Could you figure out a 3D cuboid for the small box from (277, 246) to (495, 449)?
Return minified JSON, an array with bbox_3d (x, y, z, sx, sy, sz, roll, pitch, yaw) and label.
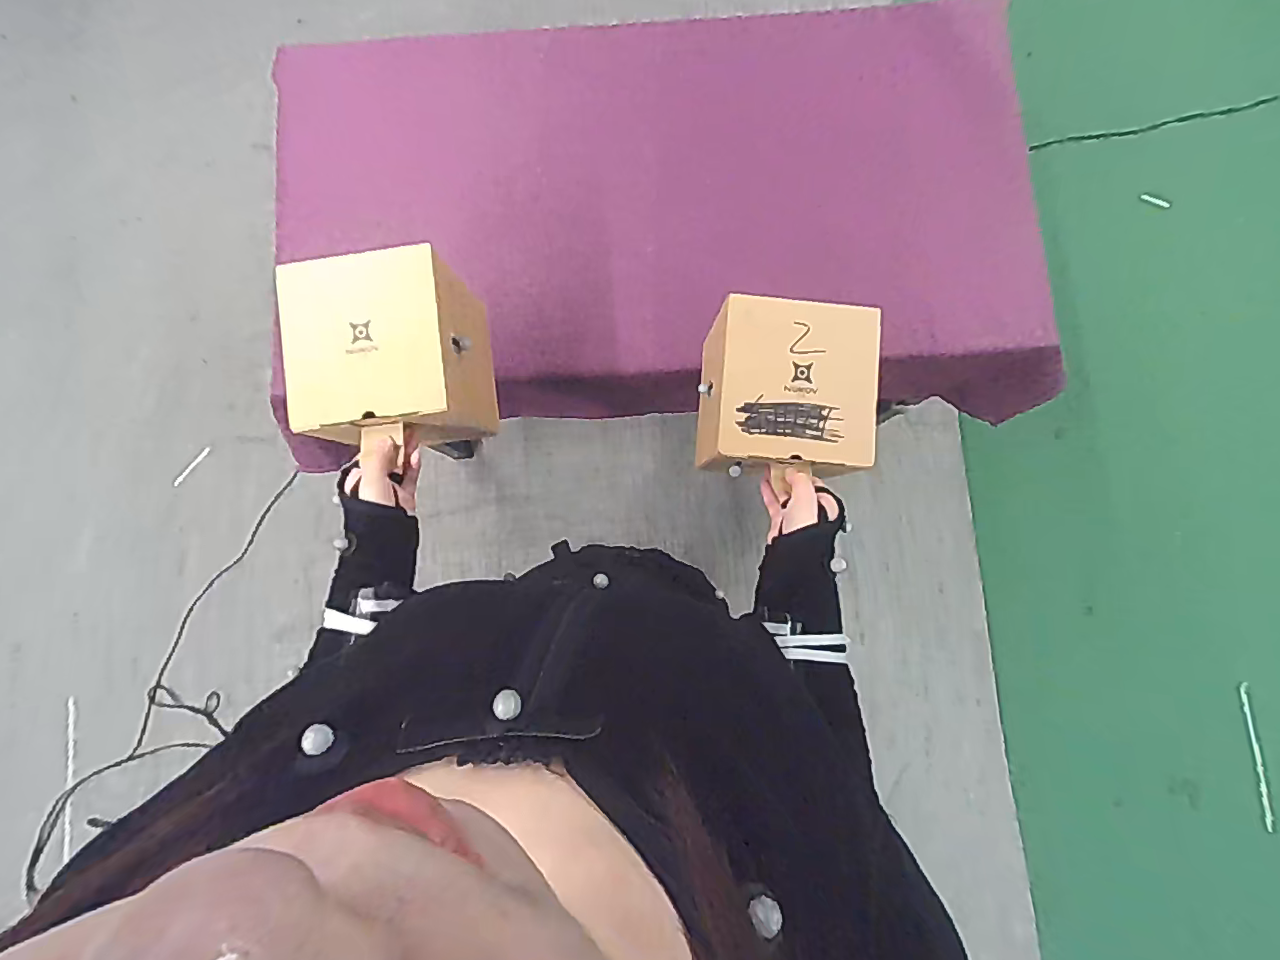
[{"bbox_3d":[-0.278,-0.139,0.624,0.168,0.176,0.179,-7,87,1],"label":"small box"}]
